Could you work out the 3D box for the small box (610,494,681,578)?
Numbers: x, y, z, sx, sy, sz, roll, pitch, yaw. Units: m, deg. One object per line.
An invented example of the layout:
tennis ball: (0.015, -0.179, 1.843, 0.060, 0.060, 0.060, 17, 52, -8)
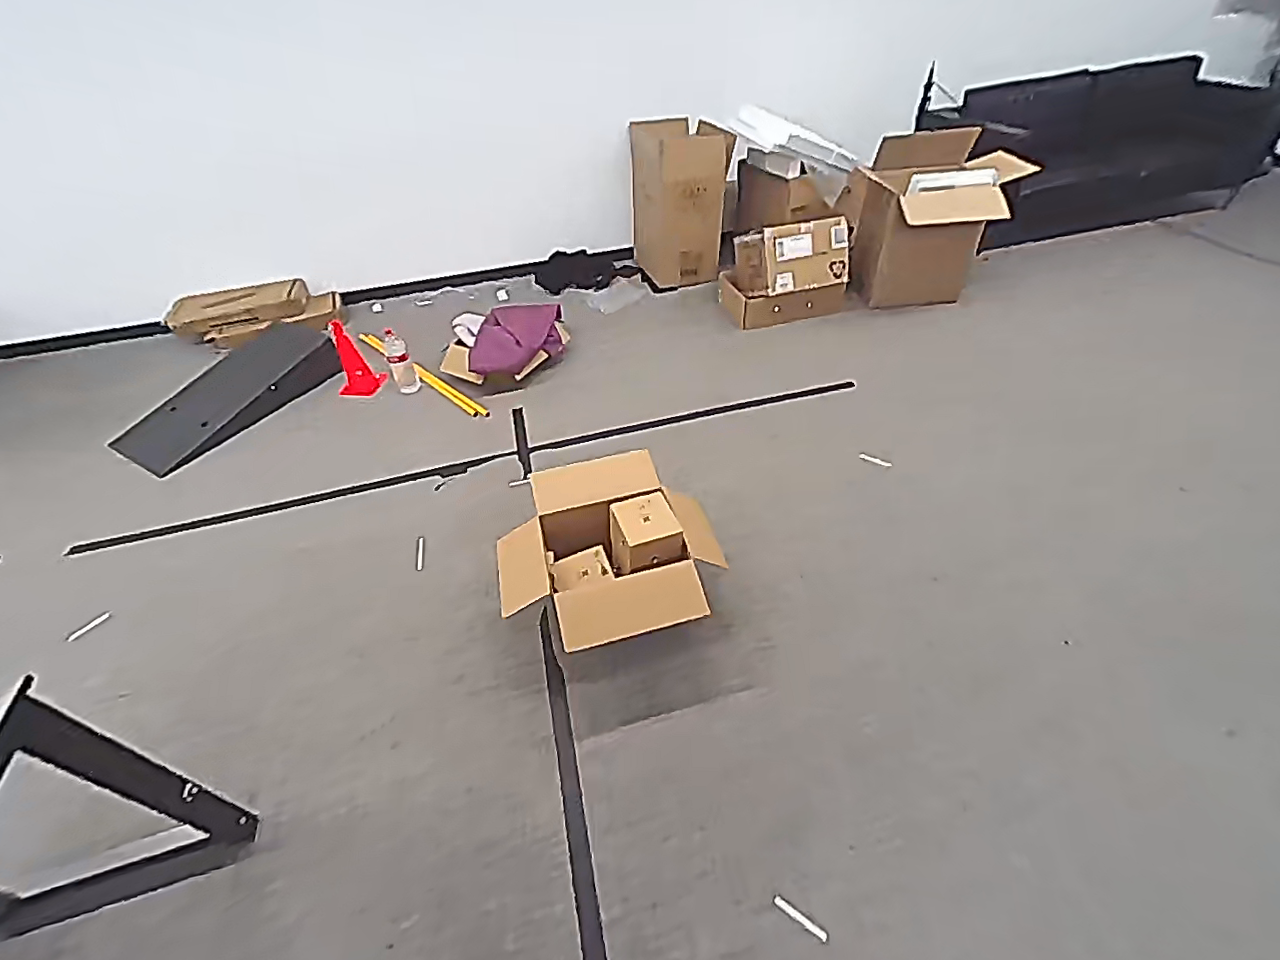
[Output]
small box: (0.015, 0.174, 1.624, 0.168, 0.176, 0.179, -14, 44, -16)
